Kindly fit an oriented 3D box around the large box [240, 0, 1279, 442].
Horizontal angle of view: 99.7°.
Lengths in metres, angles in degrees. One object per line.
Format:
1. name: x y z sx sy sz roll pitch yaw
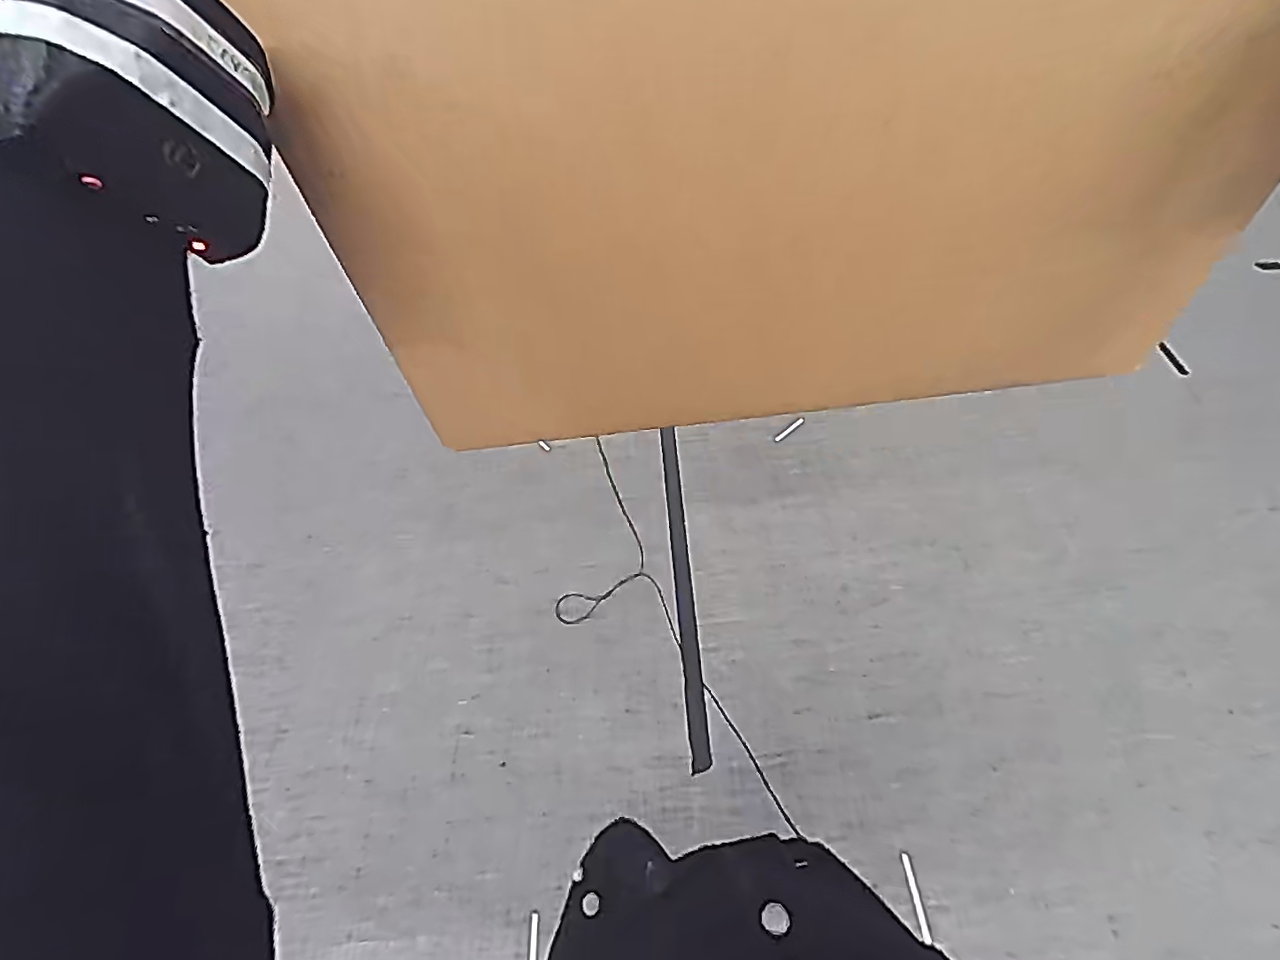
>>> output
1. large box: 0.056 -0.253 0.313 0.408 0.320 0.320 -7 50 1
